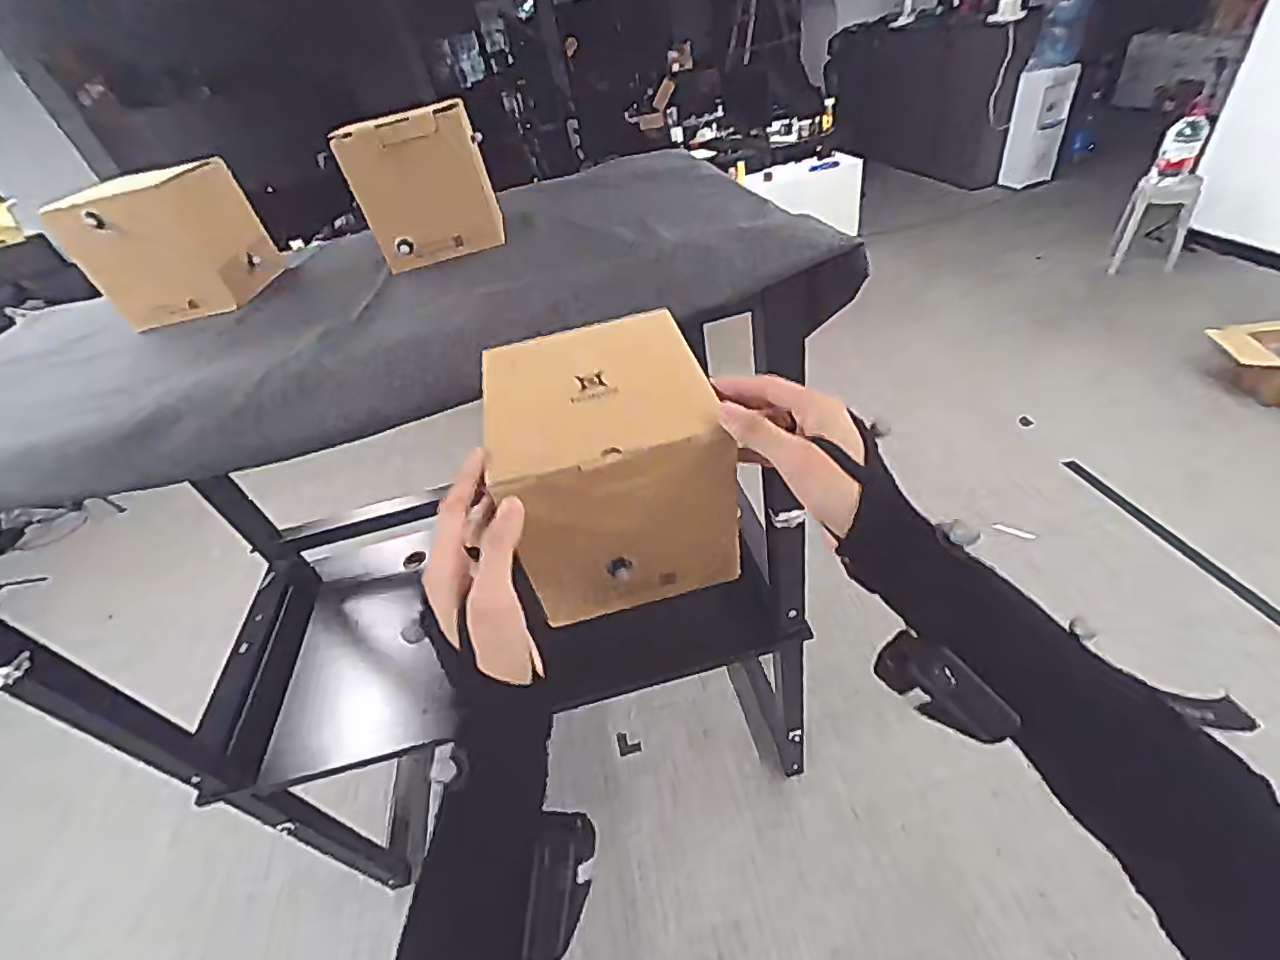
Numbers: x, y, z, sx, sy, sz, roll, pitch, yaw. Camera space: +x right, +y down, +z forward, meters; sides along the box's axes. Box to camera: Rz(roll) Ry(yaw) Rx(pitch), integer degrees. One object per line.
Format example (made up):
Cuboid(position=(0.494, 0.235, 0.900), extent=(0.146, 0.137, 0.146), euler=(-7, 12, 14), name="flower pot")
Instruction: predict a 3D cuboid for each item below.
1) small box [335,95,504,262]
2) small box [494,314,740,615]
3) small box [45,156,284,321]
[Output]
Cuboid(position=(-0.303, -0.434, 0.785), extent=(0.168, 0.176, 0.179), euler=(-16, 39, -3), name="small box")
Cuboid(position=(-0.021, -0.015, 0.467), extent=(0.168, 0.176, 0.179), euler=(-14, 44, -4), name="small box")
Cuboid(position=(-0.672, -0.356, 0.798), extent=(0.168, 0.176, 0.179), euler=(-12, 40, 2), name="small box")
